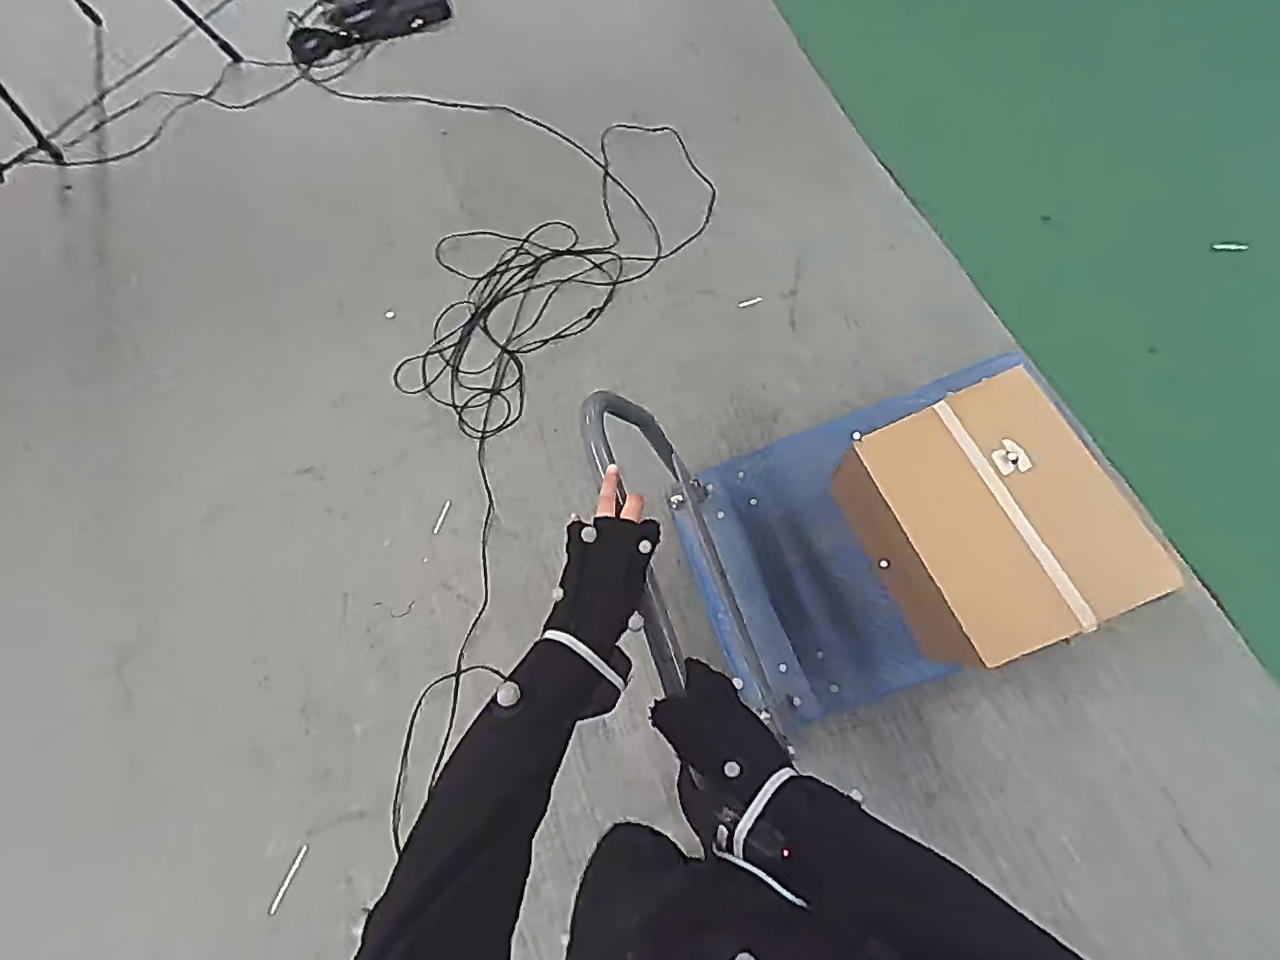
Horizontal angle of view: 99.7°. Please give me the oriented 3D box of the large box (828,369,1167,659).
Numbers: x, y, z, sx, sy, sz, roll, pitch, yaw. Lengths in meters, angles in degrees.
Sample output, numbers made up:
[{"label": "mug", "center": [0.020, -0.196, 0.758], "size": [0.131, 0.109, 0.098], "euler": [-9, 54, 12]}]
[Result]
[{"label": "large box", "center": [0.607, 0.081, 1.020], "size": [0.320, 0.320, 0.408], "euler": [-25, 71, 3]}]
